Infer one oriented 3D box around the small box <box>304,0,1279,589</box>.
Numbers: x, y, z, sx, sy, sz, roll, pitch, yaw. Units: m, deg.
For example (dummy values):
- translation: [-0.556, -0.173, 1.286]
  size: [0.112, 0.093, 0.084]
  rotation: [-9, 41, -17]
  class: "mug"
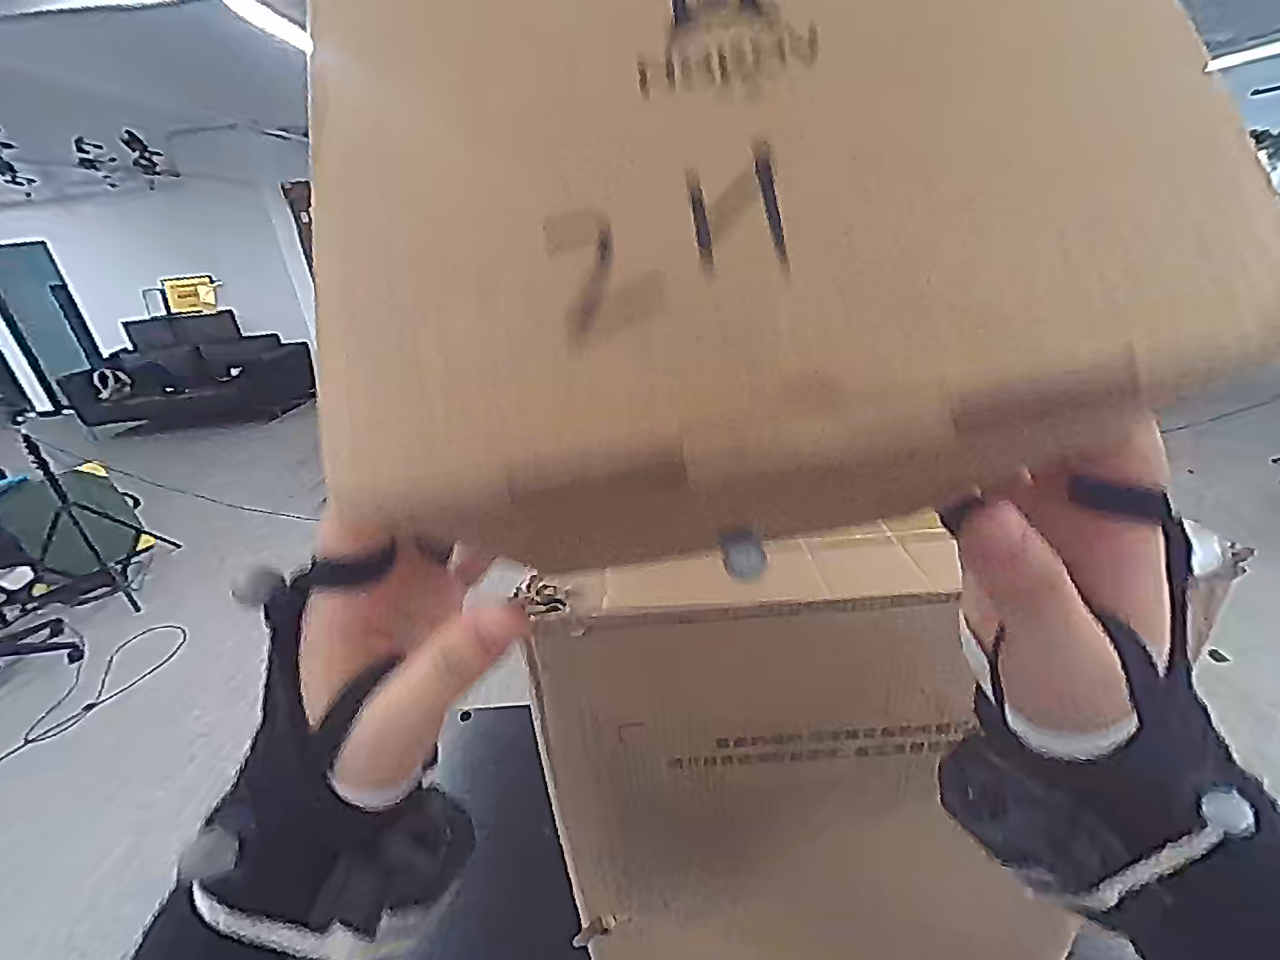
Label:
- translation: [0.021, -0.063, 0.183]
  size: [0.168, 0.179, 0.176]
  rotation: [-10, -13, 3]
  class: "small box"
